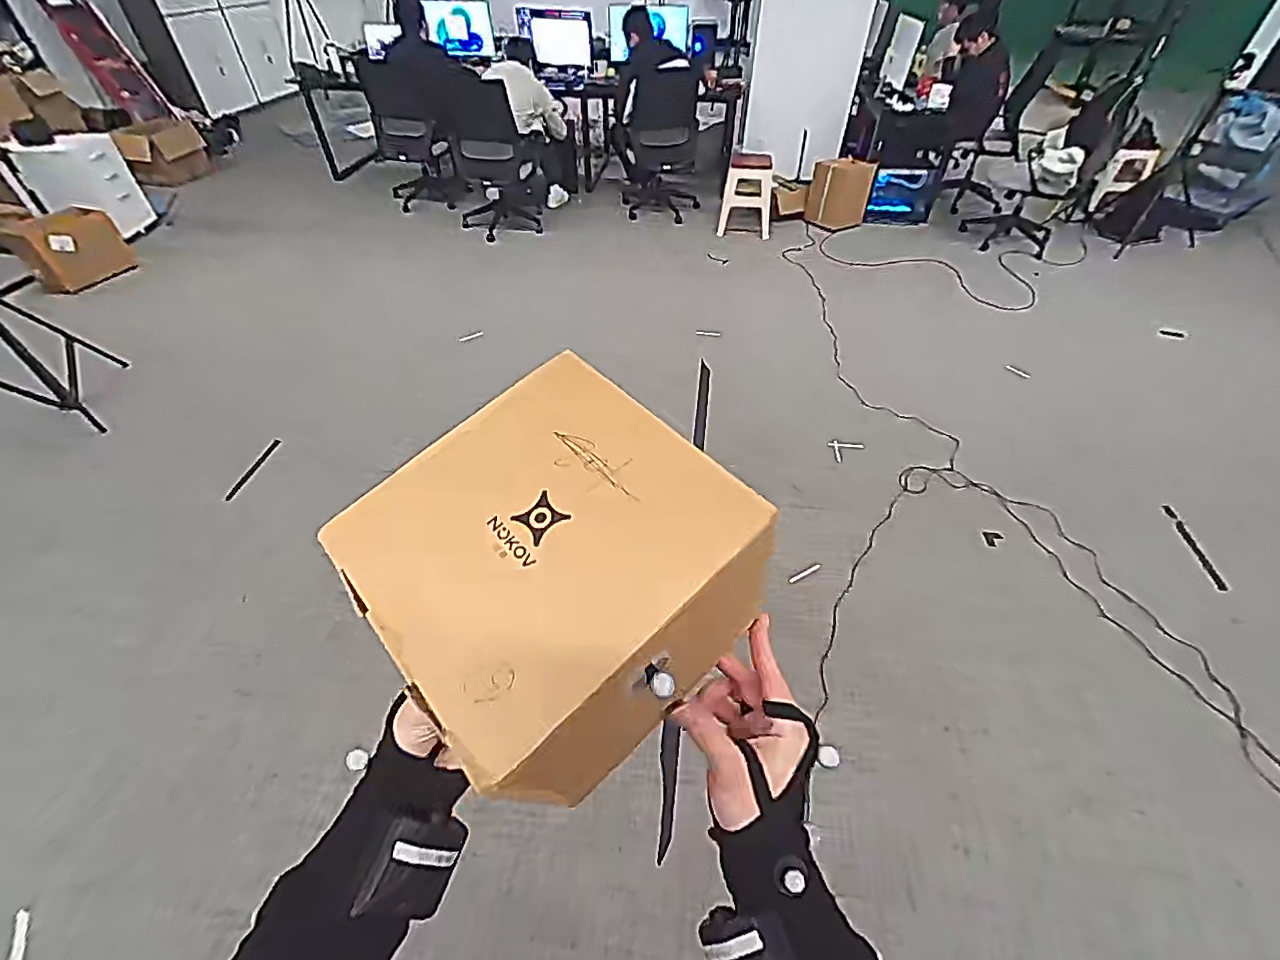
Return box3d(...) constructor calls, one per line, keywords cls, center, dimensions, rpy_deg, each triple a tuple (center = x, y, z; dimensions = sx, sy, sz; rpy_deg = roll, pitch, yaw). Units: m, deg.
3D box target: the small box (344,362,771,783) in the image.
box3d(cls="small box", center=(-0.038, 0.066, 0.350), dimensions=(0.179, 0.176, 0.168), rpy_deg=(-40, 62, -18))
